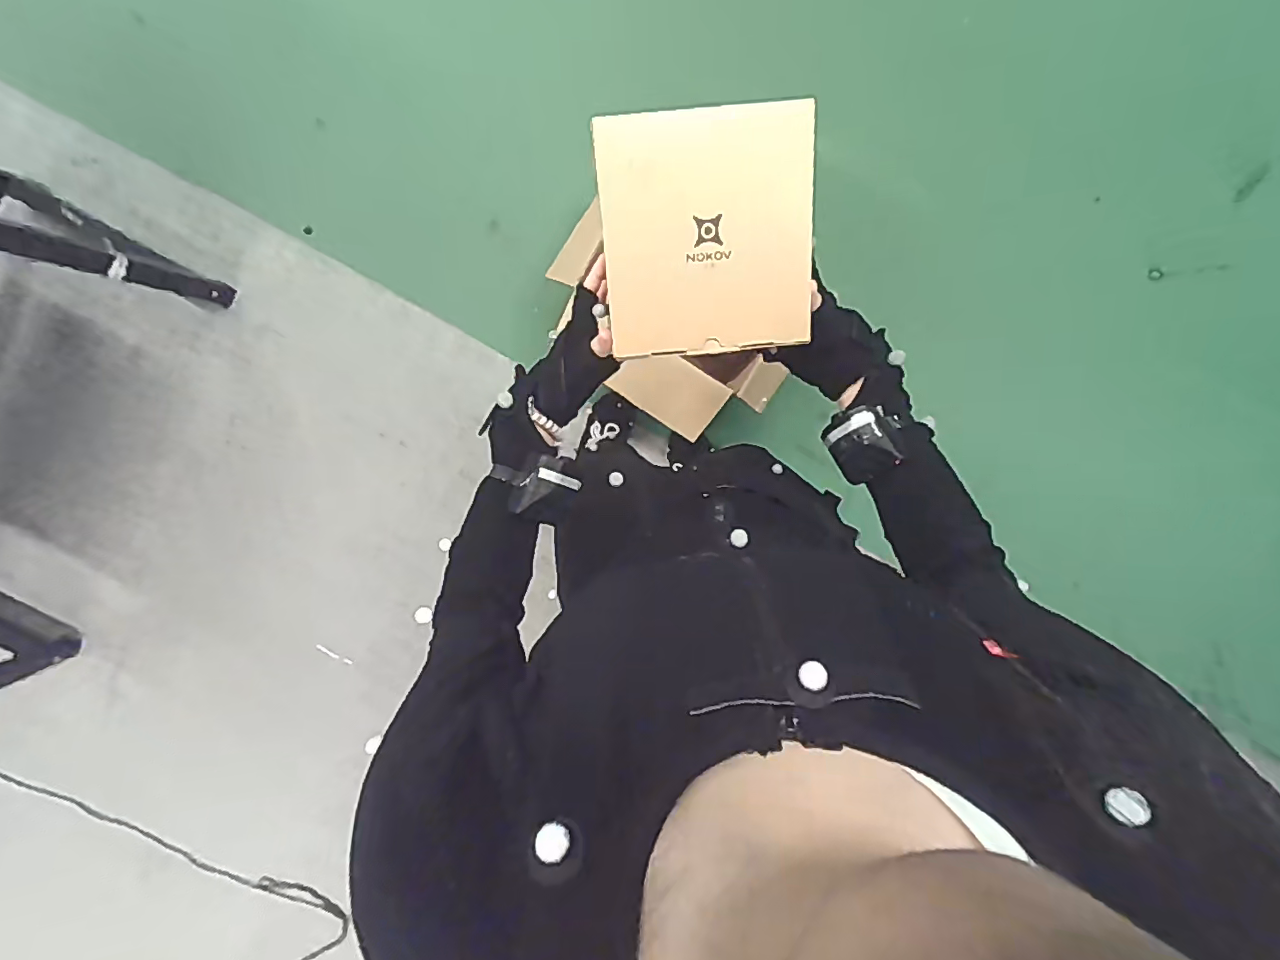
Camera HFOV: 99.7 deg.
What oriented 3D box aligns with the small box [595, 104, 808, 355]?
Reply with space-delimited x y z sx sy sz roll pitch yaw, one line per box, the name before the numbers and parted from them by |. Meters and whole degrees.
small box | 0.047 -0.218 0.504 0.168 0.176 0.179 -6 110 -1
